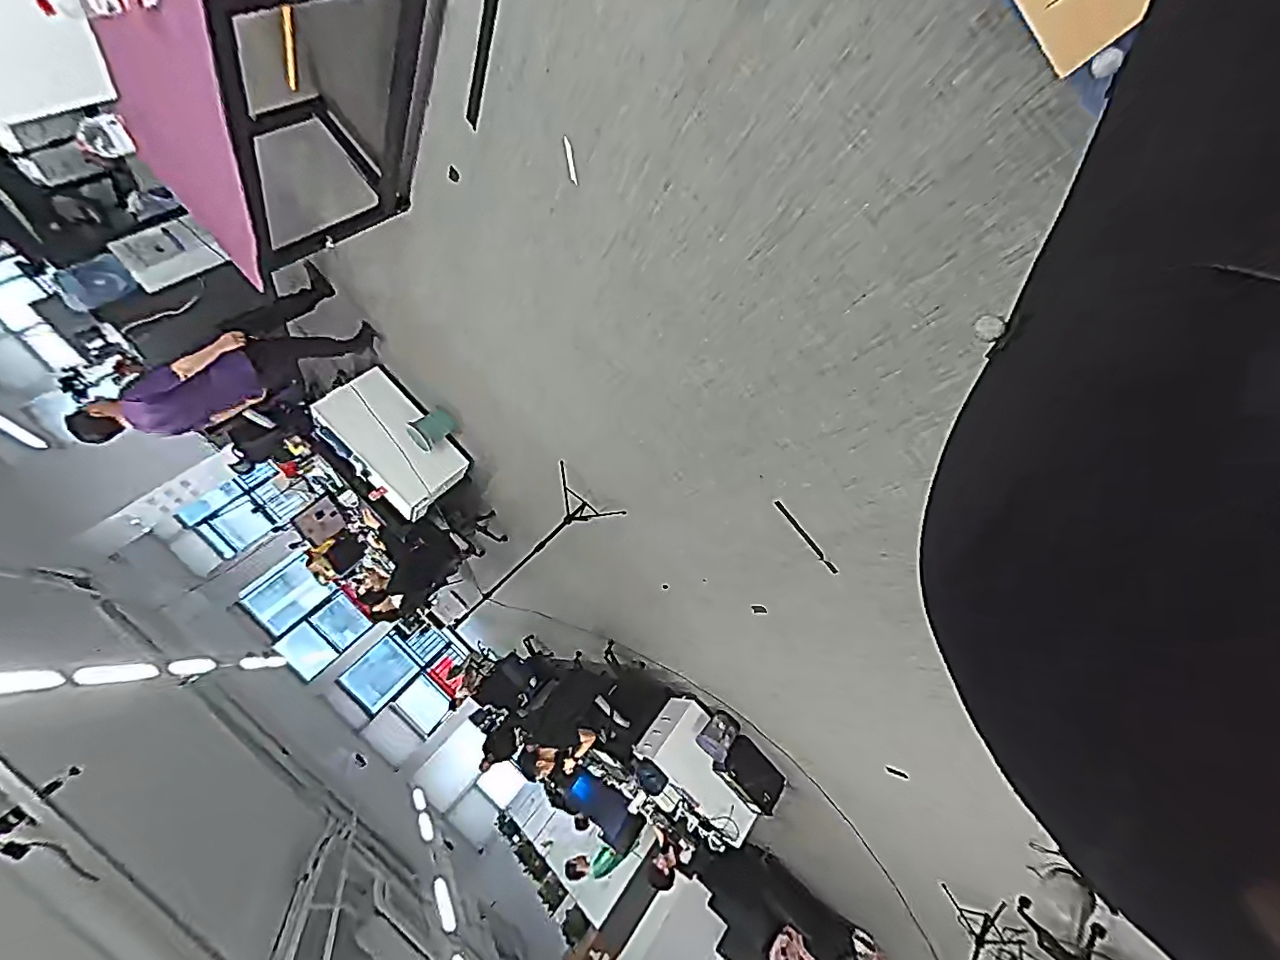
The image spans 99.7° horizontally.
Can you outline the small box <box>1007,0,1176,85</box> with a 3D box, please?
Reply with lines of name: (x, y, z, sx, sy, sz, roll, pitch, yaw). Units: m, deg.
small box: (0.590, -0.649, 0.667, 0.168, 0.176, 0.179, 51, 151, -9)
